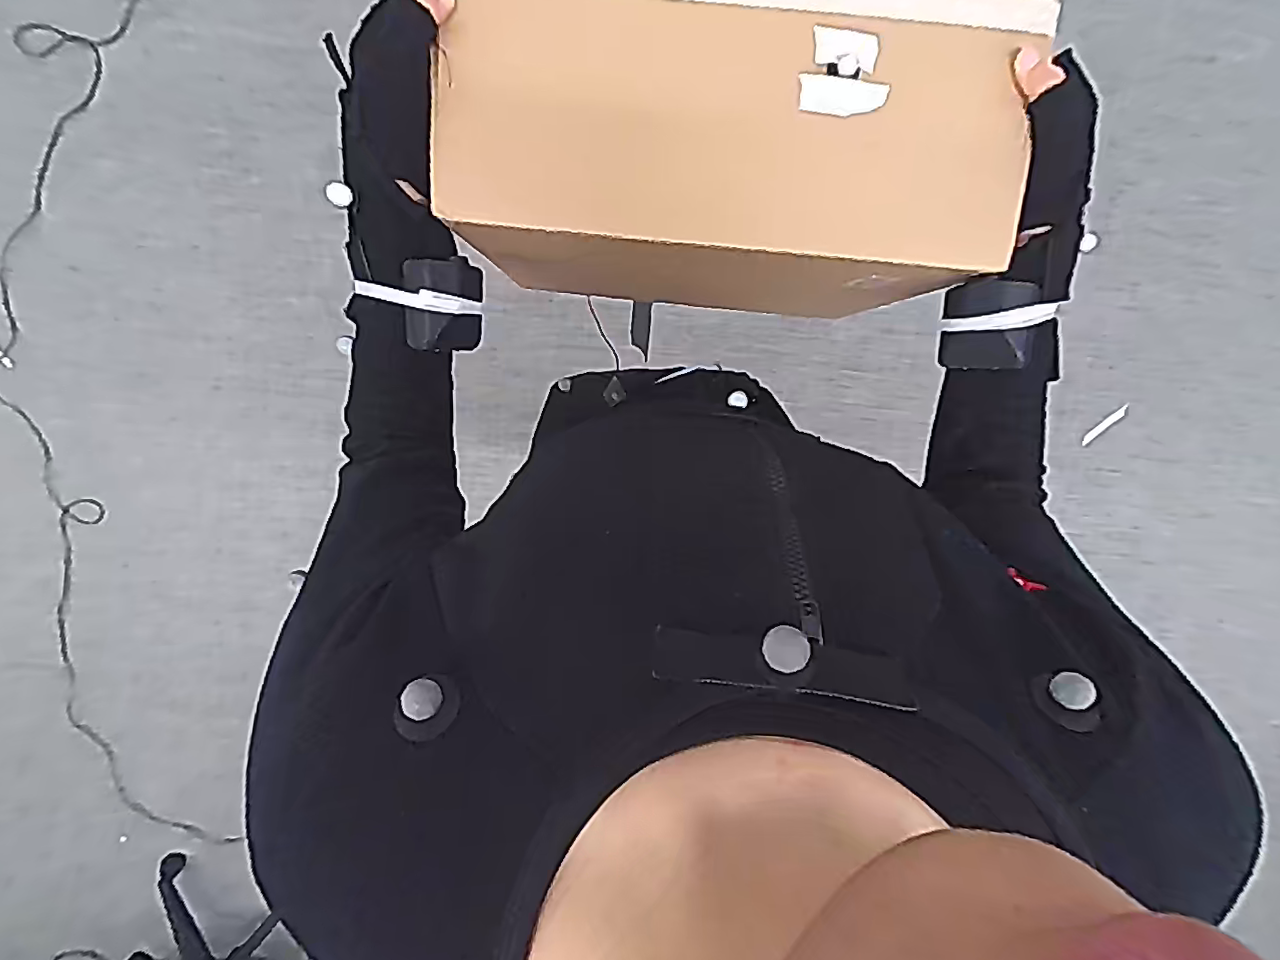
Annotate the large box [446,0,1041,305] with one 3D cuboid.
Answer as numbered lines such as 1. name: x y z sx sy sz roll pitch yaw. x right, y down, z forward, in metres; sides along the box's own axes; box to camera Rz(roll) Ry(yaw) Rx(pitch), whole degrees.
1. large box: 0.065 -0.354 0.504 0.408 0.320 0.320 4 102 -3
